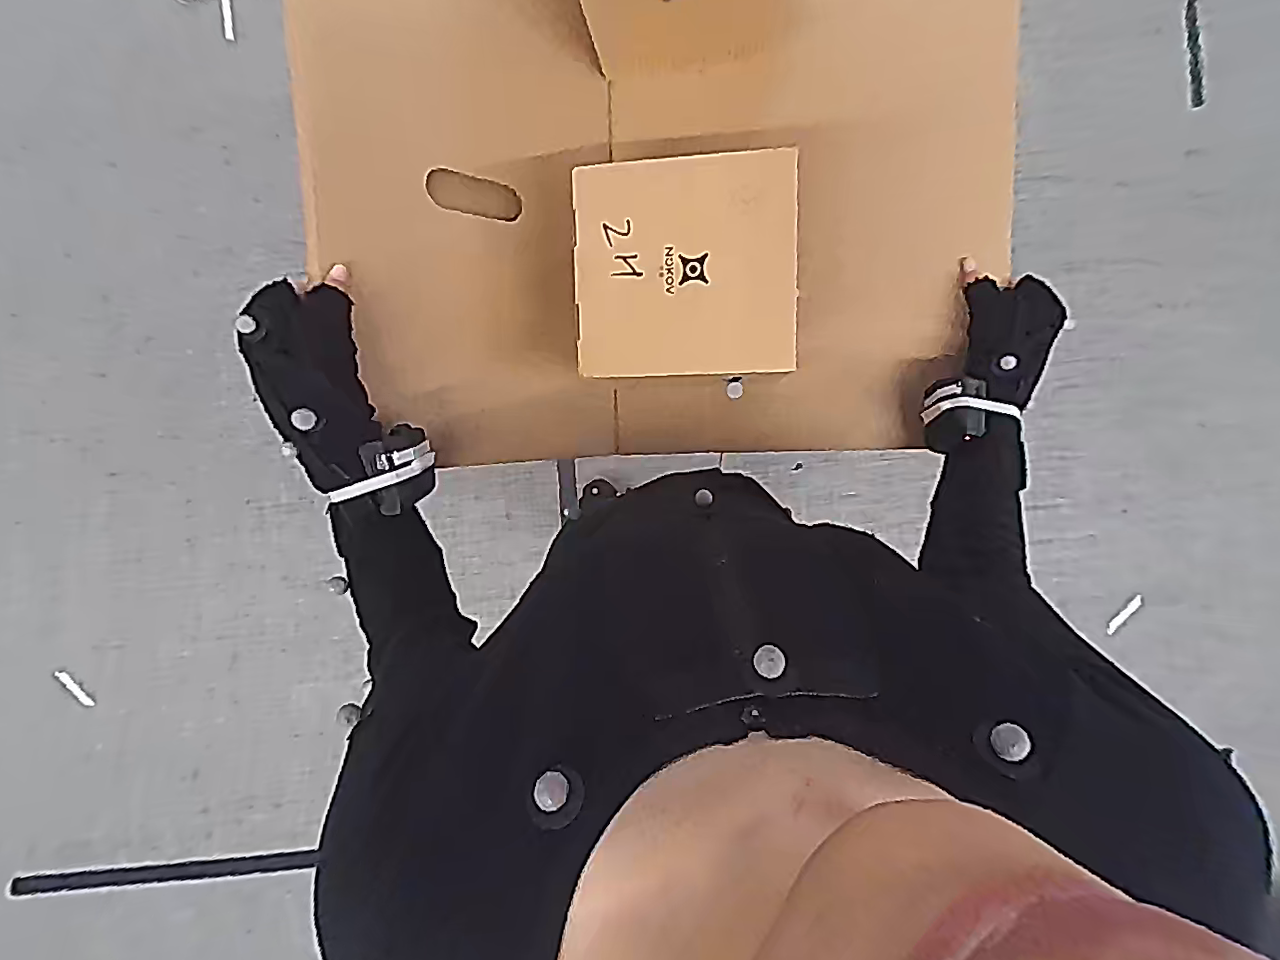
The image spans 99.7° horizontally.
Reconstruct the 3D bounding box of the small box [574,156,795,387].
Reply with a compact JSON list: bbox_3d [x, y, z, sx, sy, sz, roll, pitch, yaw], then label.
[{"bbox_3d":[0.044,-0.178,0.512,0.179,0.176,0.168,0,96,9],"label":"small box"}]

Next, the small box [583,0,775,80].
[{"bbox_3d":[0.032,-0.494,0.479,0.179,0.176,0.168,-2,96,8],"label":"small box"}]
